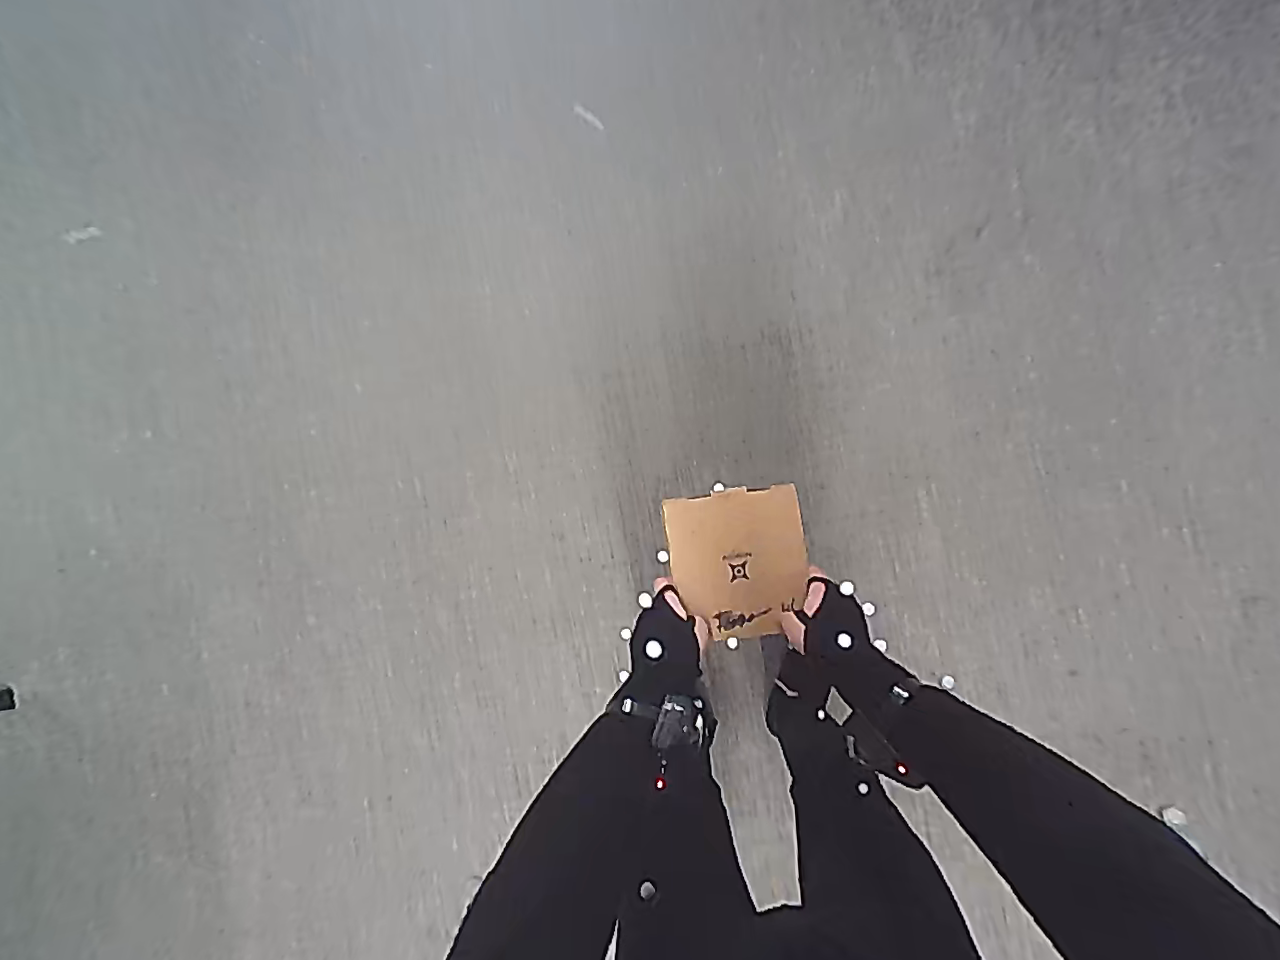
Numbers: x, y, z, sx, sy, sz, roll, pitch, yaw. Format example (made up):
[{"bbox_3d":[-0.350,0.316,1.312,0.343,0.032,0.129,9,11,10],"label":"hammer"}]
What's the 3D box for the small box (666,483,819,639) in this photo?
[{"bbox_3d":[0.127,0.109,0.740,0.168,0.176,0.179,-7,83,1],"label":"small box"}]
